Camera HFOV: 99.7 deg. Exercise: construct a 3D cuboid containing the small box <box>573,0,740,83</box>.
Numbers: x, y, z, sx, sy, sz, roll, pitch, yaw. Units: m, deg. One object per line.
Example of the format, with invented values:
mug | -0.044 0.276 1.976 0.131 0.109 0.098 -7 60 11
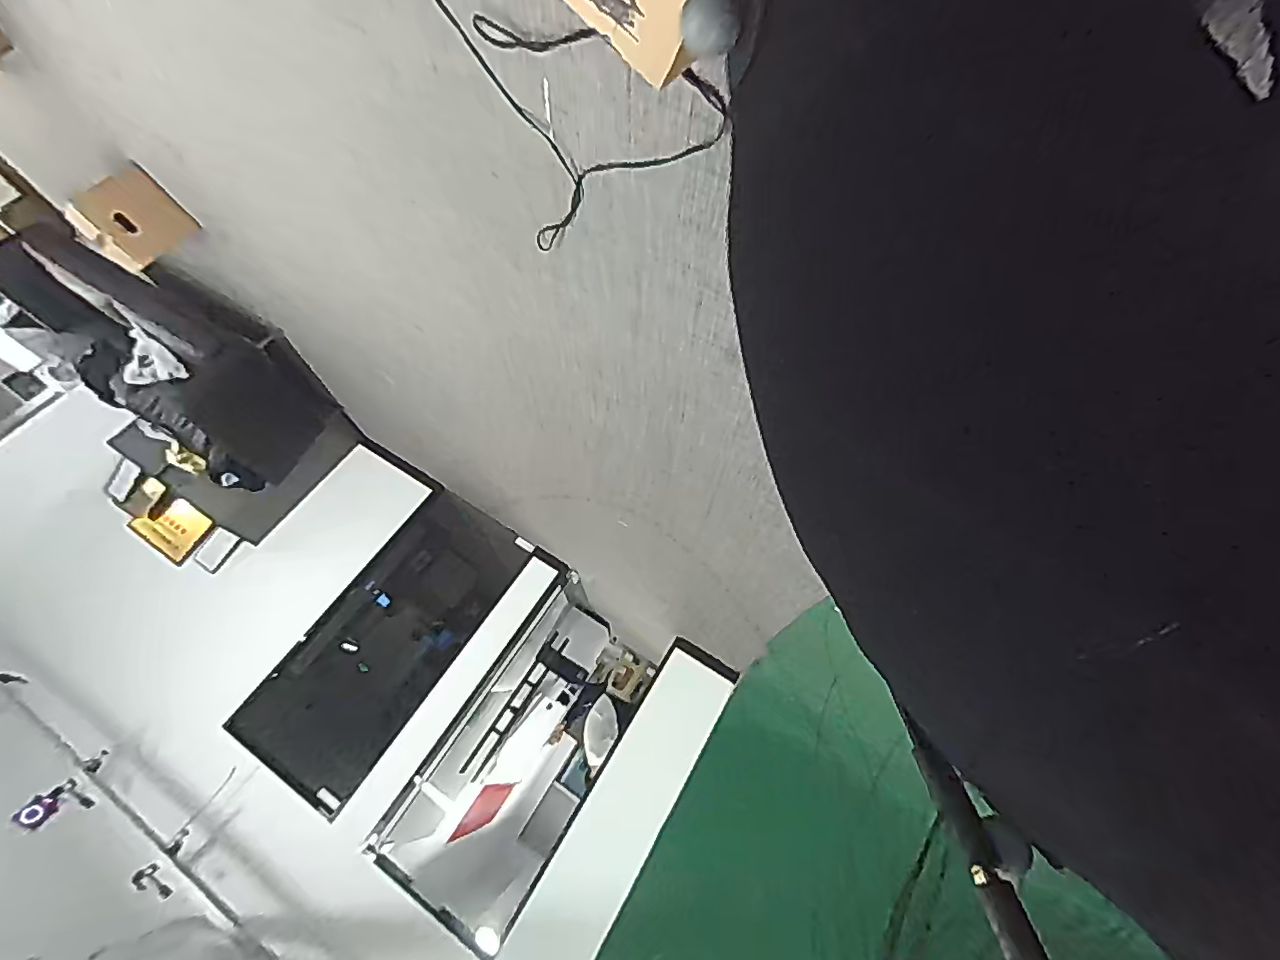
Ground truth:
small box | 0.037 -0.594 0.579 0.168 0.176 0.179 39 156 -8
